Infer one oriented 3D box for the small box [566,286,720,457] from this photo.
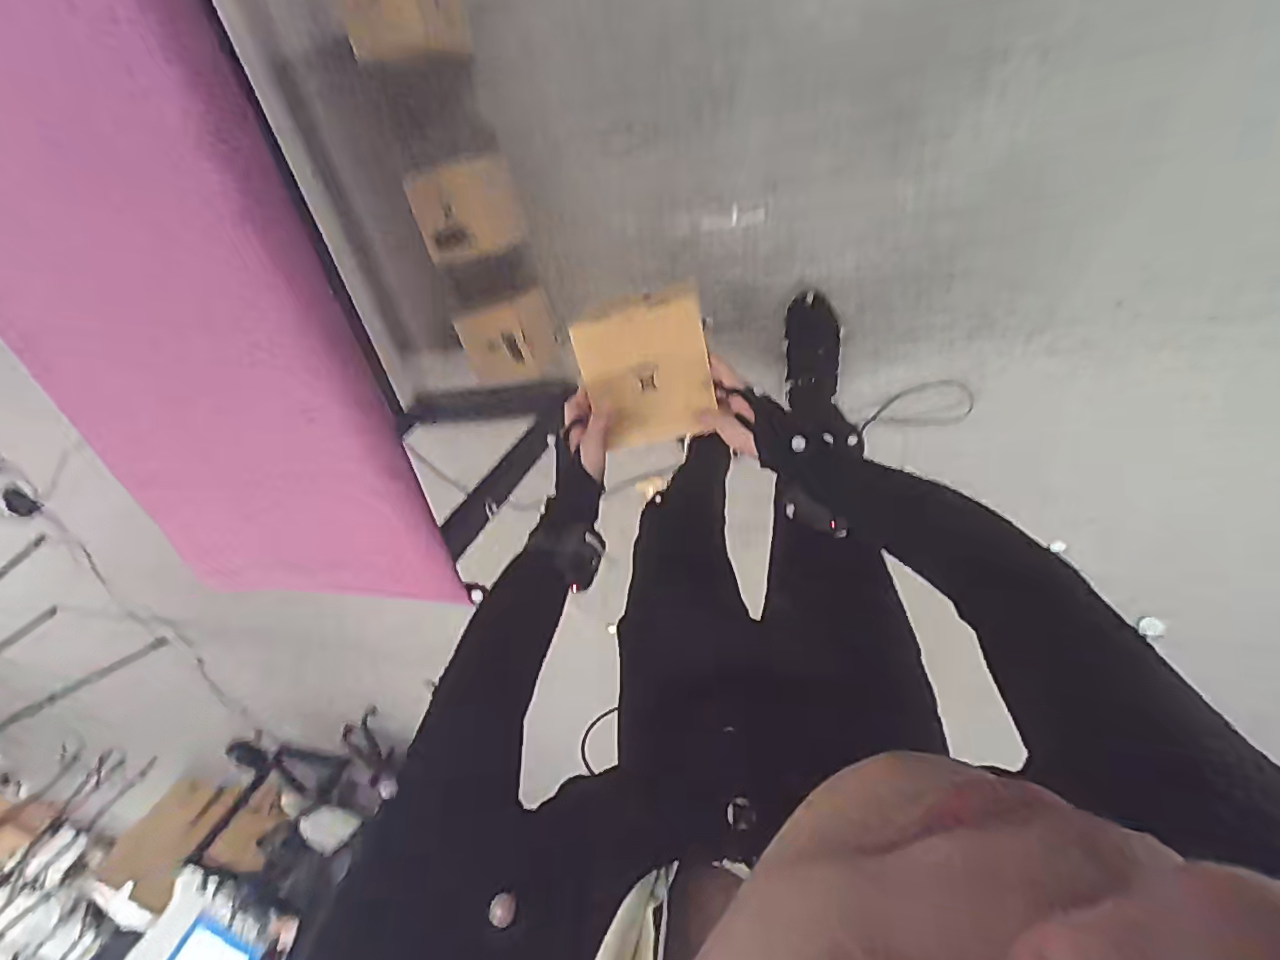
[{"bbox_3d":[0.016,-0.154,0.749,0.168,0.176,0.179,-11,113,11],"label":"small box"}]
